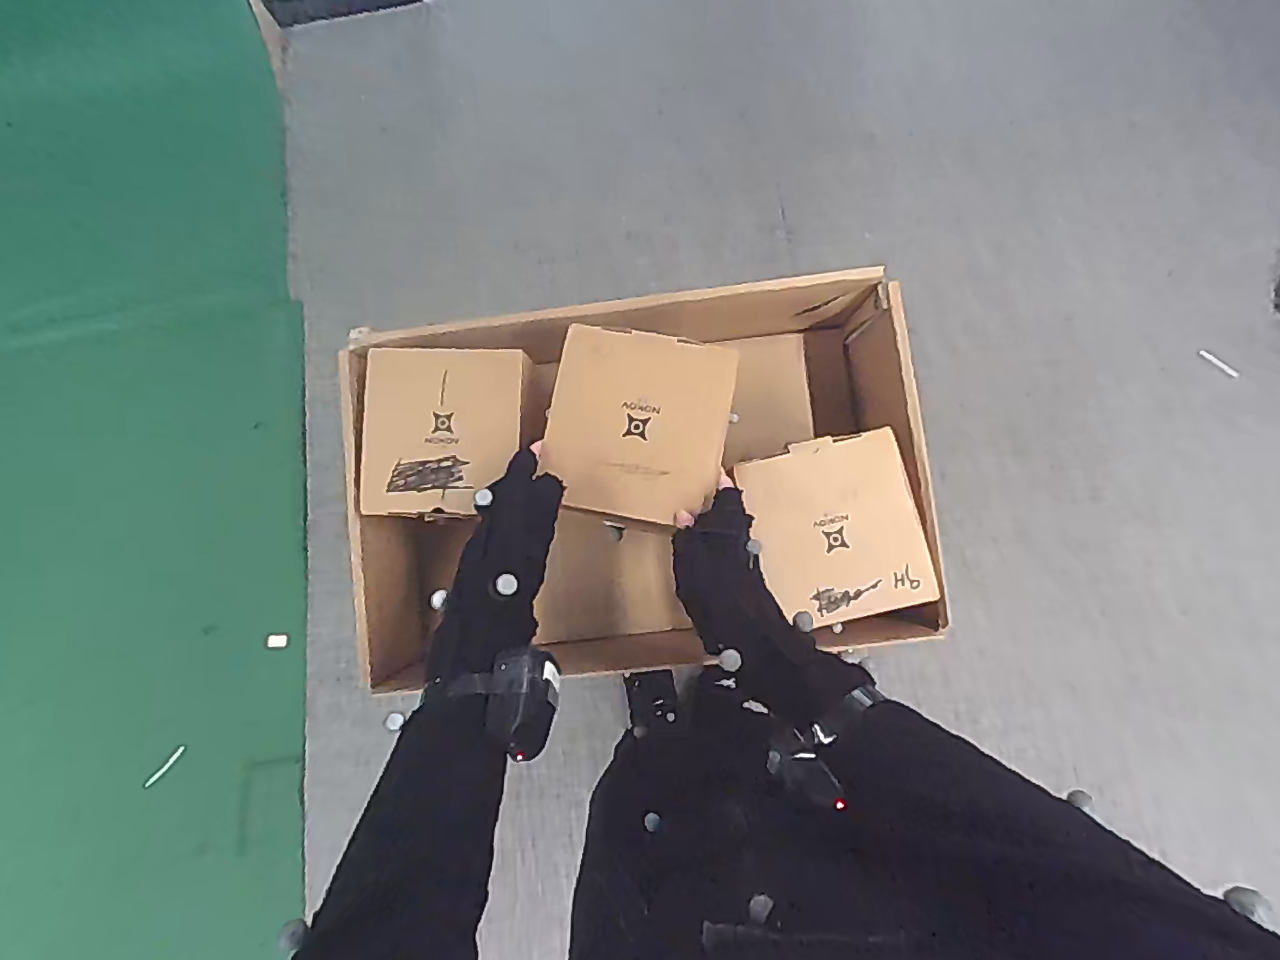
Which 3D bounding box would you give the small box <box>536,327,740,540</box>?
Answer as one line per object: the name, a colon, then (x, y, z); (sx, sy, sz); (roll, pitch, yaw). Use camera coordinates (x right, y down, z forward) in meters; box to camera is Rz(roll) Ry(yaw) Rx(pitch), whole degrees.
small box: (0.002, -0.038, 0.581); (0.168, 0.176, 0.179); (10, 82, 5)
